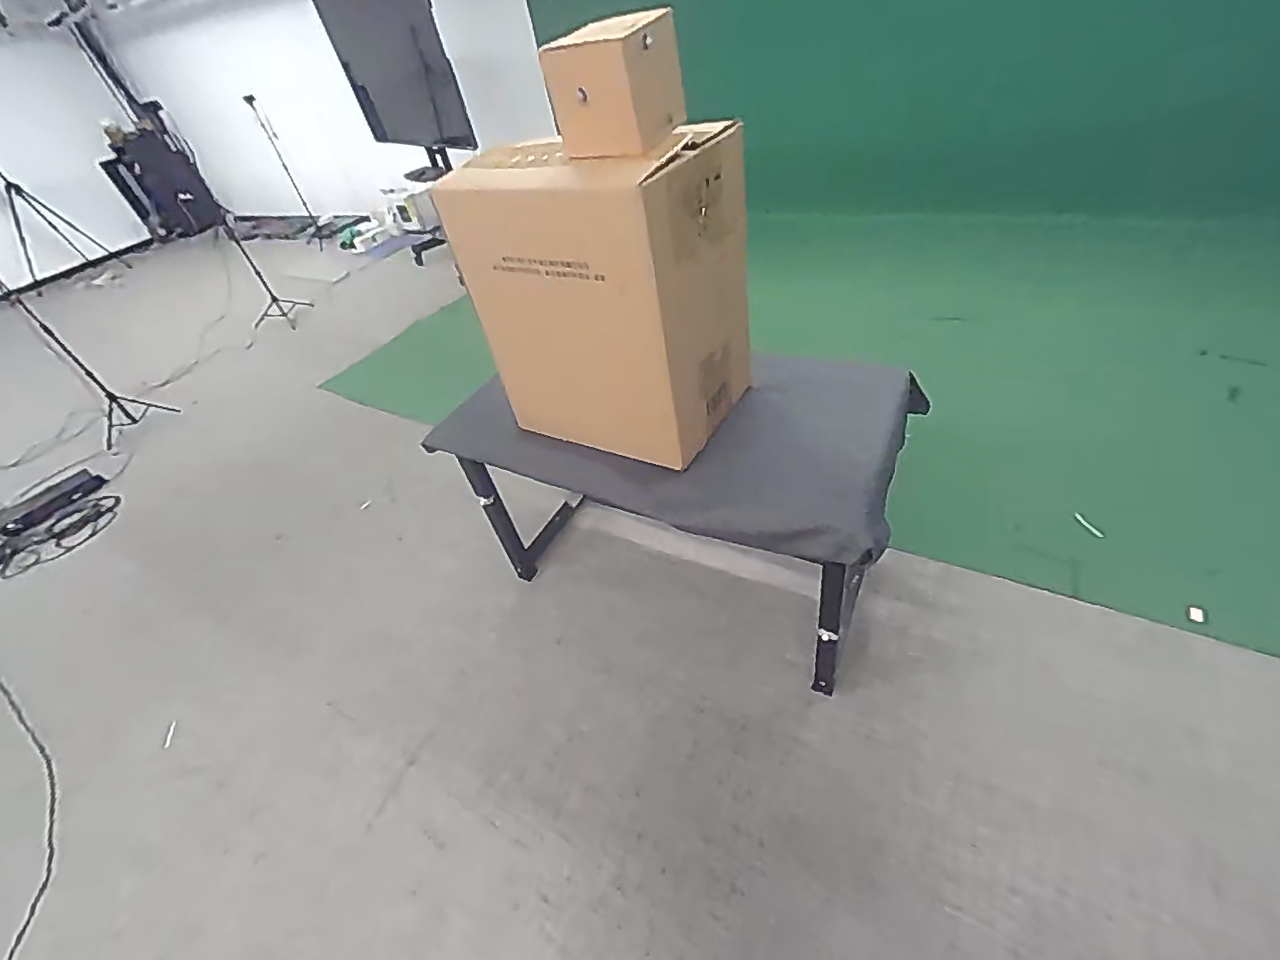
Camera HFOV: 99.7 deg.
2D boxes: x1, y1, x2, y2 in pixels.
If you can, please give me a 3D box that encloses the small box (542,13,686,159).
[{"bbox_3d":[-0.038,-0.694,0.966,0.179,0.176,0.168,17,56,30],"label":"small box"}]
